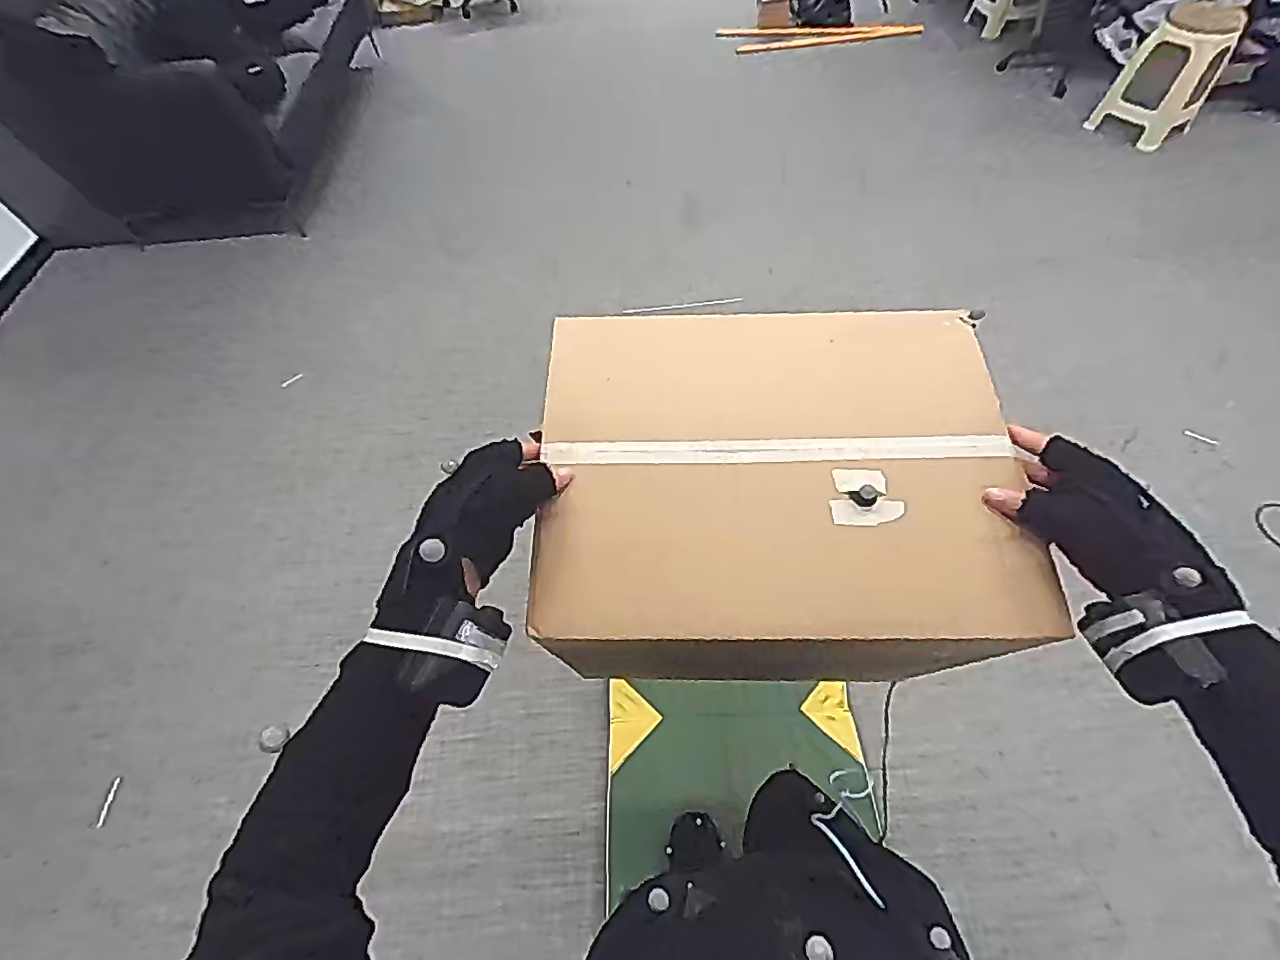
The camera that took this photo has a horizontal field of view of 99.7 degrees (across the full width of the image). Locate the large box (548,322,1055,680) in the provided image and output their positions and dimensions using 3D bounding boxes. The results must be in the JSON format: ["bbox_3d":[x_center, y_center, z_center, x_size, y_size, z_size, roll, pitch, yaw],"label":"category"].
[{"bbox_3d":[0.124,0.046,0.617,0.408,0.320,0.320,-1,65,1],"label":"large box"}]
